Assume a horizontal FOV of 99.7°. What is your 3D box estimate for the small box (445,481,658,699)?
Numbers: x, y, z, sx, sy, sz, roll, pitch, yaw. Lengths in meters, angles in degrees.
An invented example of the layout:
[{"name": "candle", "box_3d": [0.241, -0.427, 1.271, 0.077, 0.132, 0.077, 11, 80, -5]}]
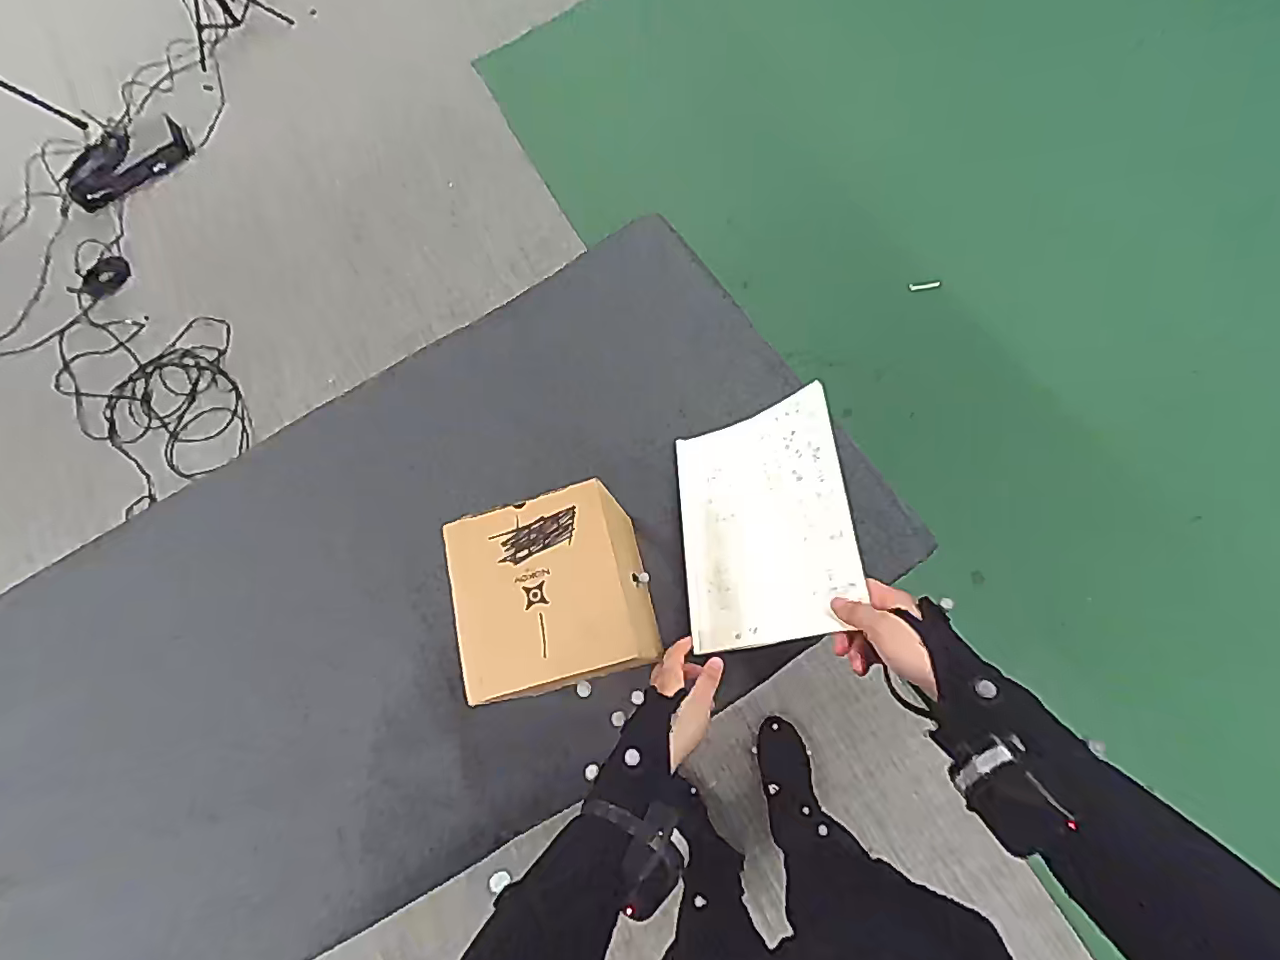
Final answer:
[{"name": "small box", "box_3d": [-0.087, 0.124, 0.589, 0.168, 0.176, 0.179, -18, 71, 5]}]
